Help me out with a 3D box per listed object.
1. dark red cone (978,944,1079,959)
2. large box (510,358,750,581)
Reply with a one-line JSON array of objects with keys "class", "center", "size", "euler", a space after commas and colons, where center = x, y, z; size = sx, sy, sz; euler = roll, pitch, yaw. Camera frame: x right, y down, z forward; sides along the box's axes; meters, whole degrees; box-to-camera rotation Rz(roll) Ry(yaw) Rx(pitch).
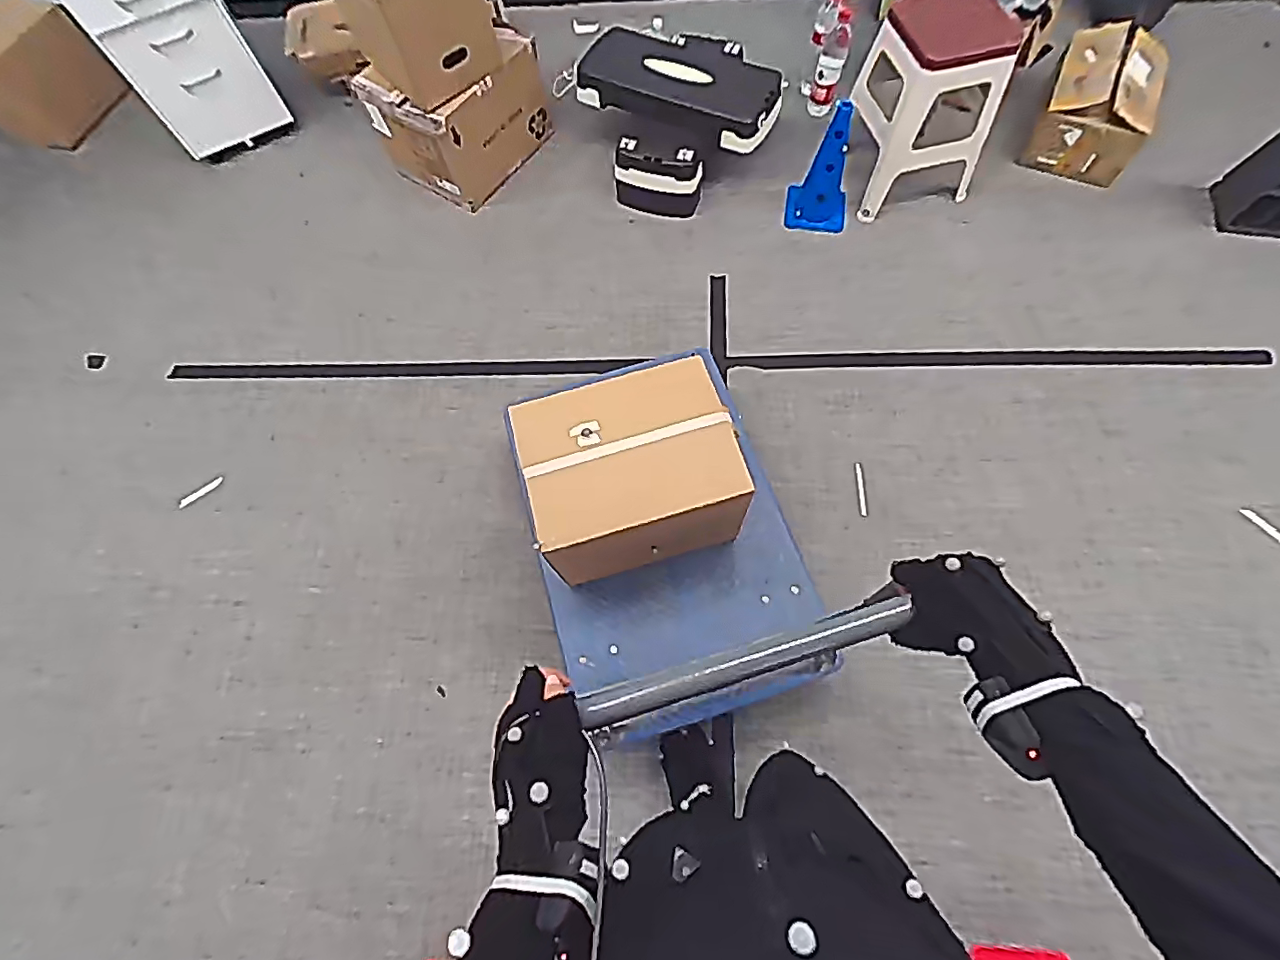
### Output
[{"class": "dark red cone", "center": [0.756, 0.951, 0.877], "size": [0.201, 0.394, 0.202], "euler": [1, 68, 1]}, {"class": "large box", "center": [-0.019, -0.006, 1.172], "size": [0.408, 0.320, 0.320], "euler": [-17, 68, -3]}]
